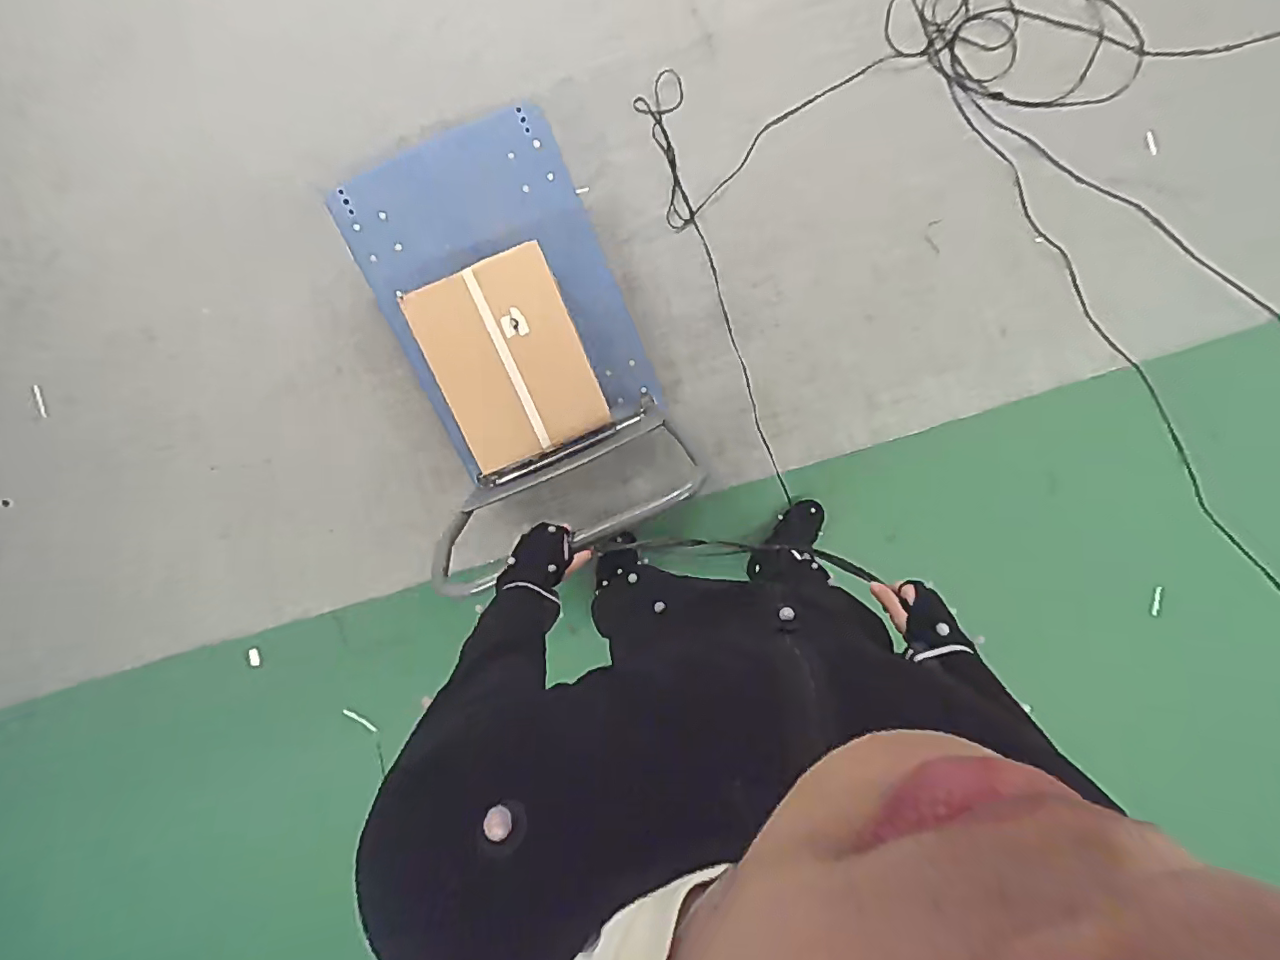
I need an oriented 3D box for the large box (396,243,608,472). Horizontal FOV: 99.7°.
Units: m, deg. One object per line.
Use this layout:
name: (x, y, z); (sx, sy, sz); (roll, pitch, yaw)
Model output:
large box: (-0.295, -0.277, 1.294); (0.320, 0.320, 0.408); (-23, 101, -1)
